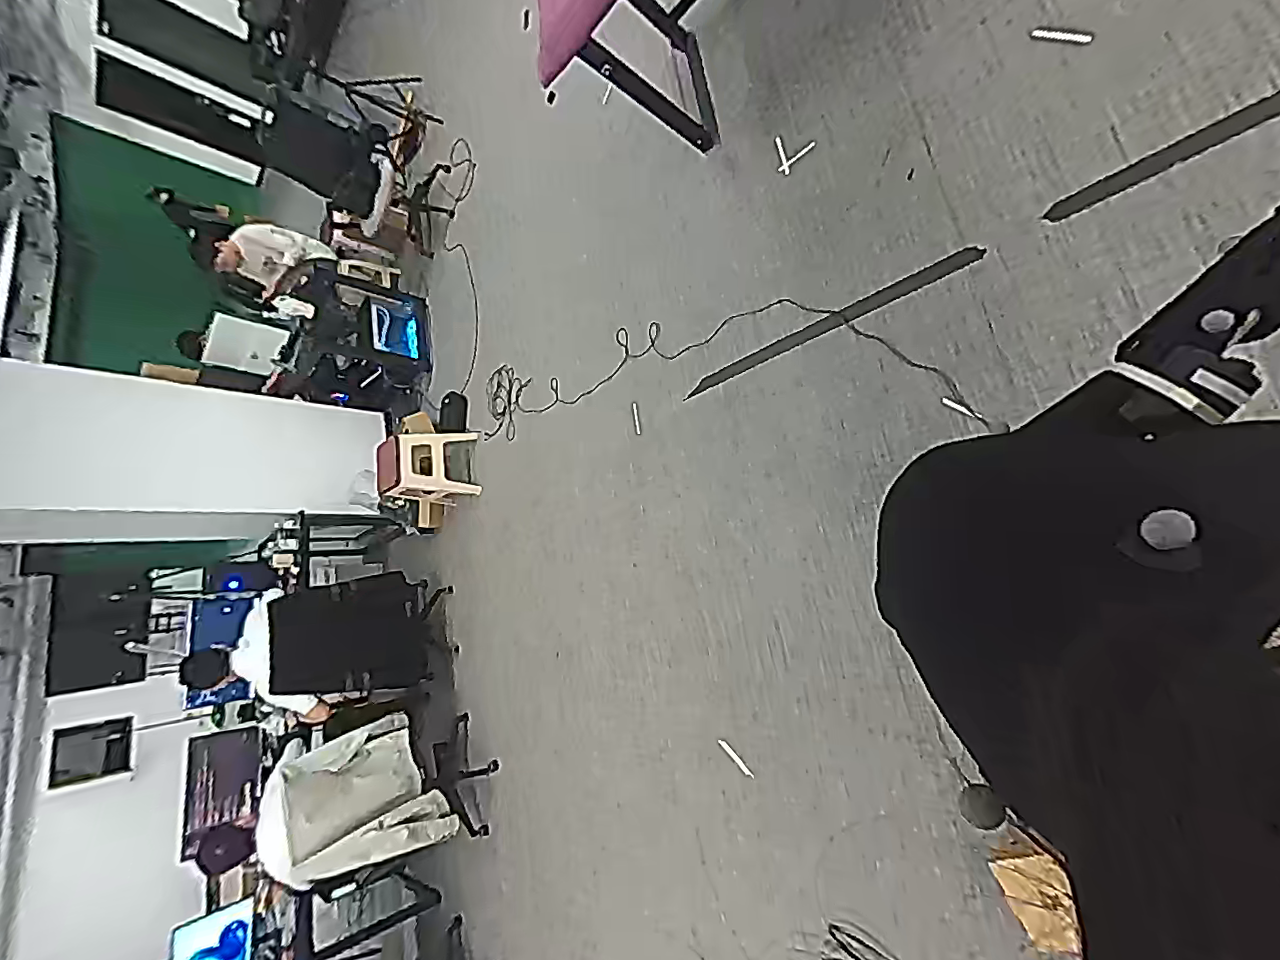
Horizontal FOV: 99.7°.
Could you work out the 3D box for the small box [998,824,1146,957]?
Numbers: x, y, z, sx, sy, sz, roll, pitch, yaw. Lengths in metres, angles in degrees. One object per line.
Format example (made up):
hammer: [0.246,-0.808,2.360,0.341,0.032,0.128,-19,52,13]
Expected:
small box: [0.900,0.849,1.125,0.179,0.176,0.168,-43,58,35]
